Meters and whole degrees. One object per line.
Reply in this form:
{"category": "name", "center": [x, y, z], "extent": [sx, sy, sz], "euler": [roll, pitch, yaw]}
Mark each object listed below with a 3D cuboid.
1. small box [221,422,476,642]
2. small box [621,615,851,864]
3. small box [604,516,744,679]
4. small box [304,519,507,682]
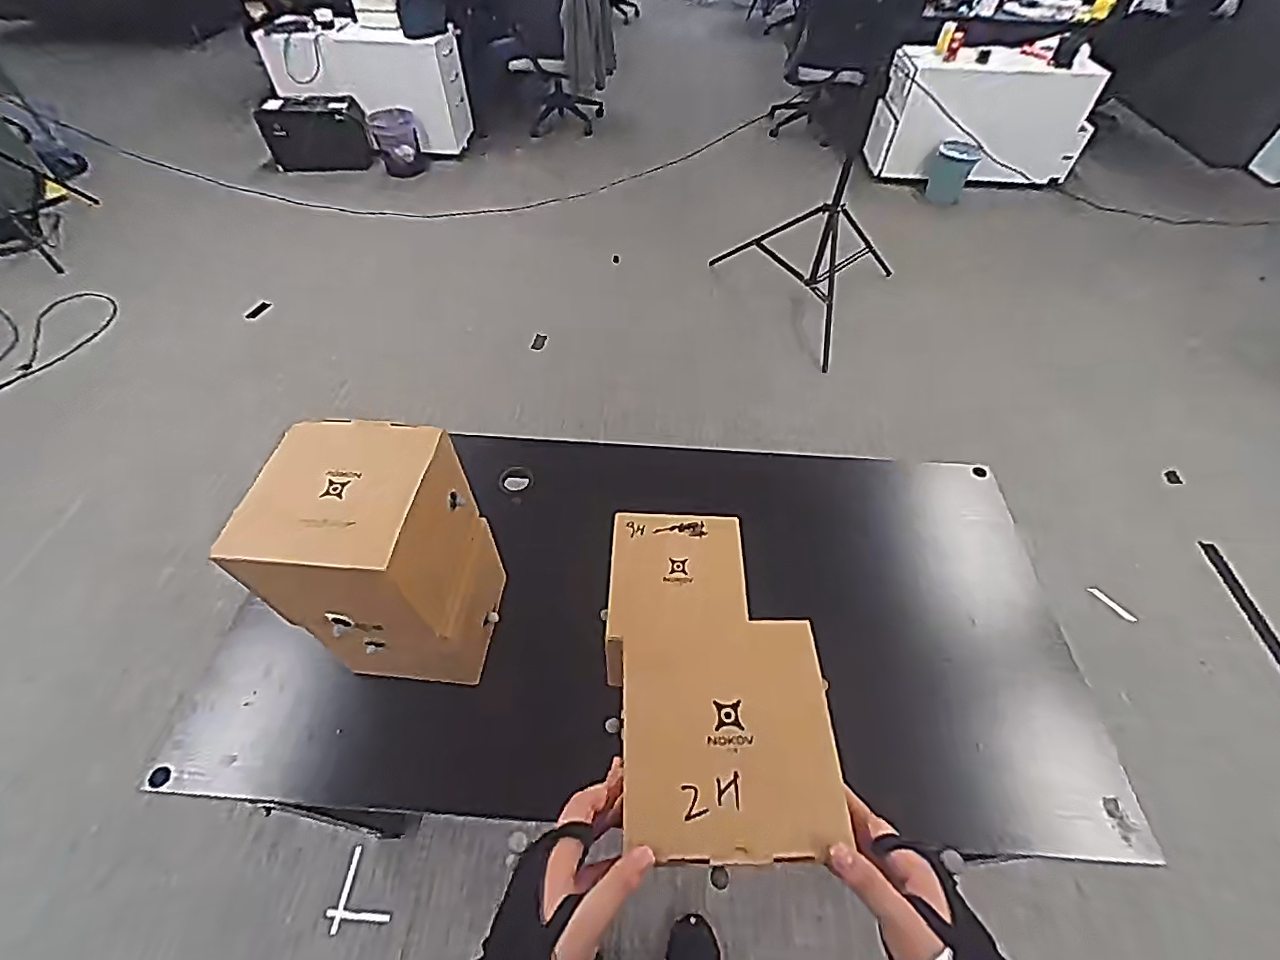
{"category": "small box", "center": [-0.294, 0.059, 0.598], "extent": [0.168, 0.176, 0.179], "euler": [3, 52, 3]}
{"category": "small box", "center": [0.067, 0.239, 0.494], "extent": [0.168, 0.176, 0.179], "euler": [0, 53, -1]}
{"category": "small box", "center": [0.044, 0.168, 0.729], "extent": [0.168, 0.176, 0.179], "euler": [2, 52, 1]}
{"category": "small box", "center": [-0.294, 0.159, 0.726], "extent": [0.179, 0.176, 0.168], "euler": [5, 52, 2]}
